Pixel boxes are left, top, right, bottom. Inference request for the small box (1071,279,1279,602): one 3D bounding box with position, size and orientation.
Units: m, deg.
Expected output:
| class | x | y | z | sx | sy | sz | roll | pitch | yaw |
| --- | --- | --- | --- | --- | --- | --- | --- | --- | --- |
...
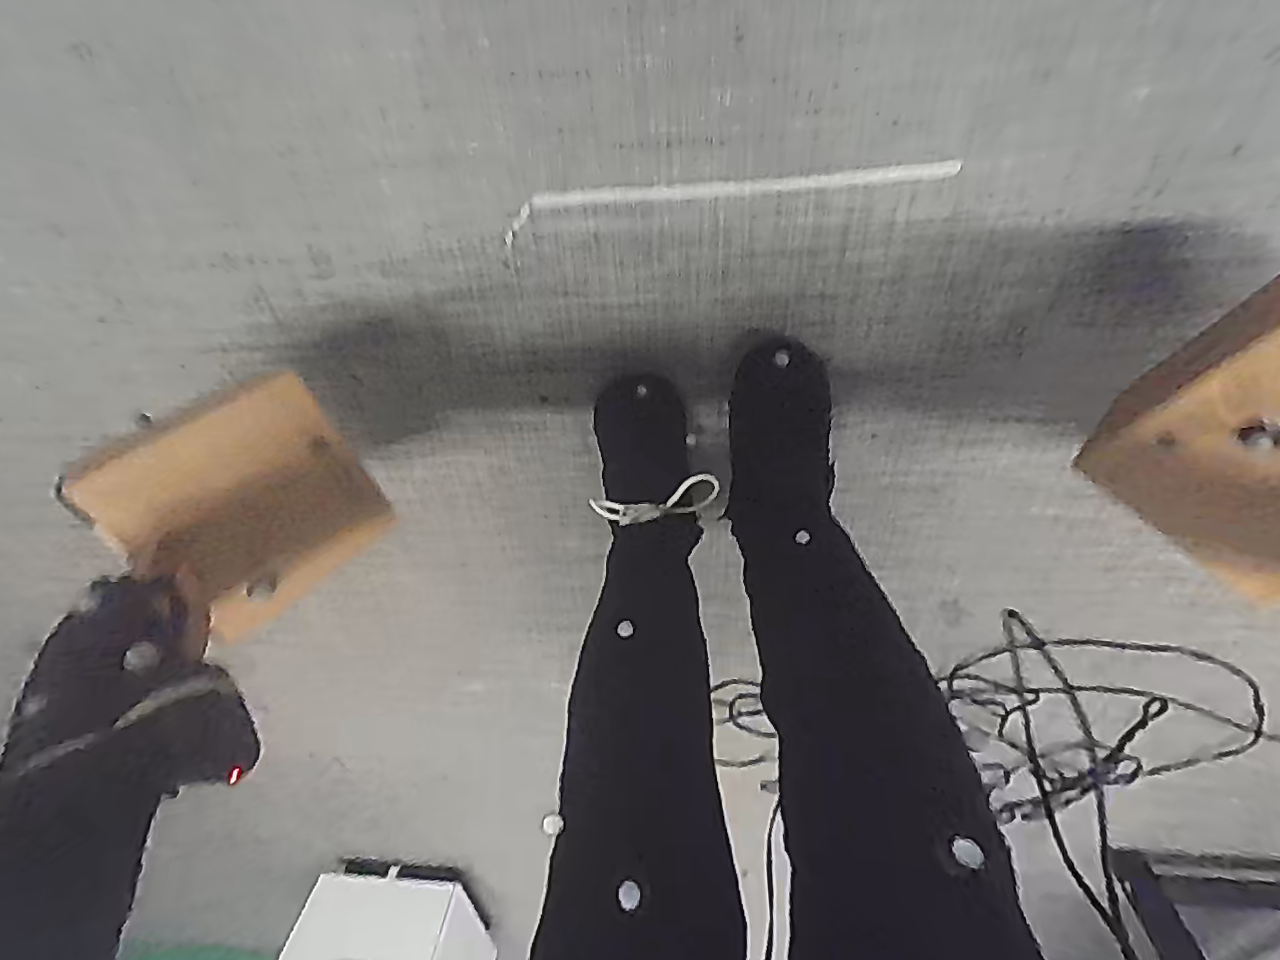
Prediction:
| class | x | y | z | sx | sy | sz | roll | pitch | yaw |
| --- | --- | --- | --- | --- | --- | --- | --- | --- | --- |
| small box | 0.503 | -0.043 | 0.424 | 0.176 | 0.179 | 0.168 | 50 | 149 | 19 |
